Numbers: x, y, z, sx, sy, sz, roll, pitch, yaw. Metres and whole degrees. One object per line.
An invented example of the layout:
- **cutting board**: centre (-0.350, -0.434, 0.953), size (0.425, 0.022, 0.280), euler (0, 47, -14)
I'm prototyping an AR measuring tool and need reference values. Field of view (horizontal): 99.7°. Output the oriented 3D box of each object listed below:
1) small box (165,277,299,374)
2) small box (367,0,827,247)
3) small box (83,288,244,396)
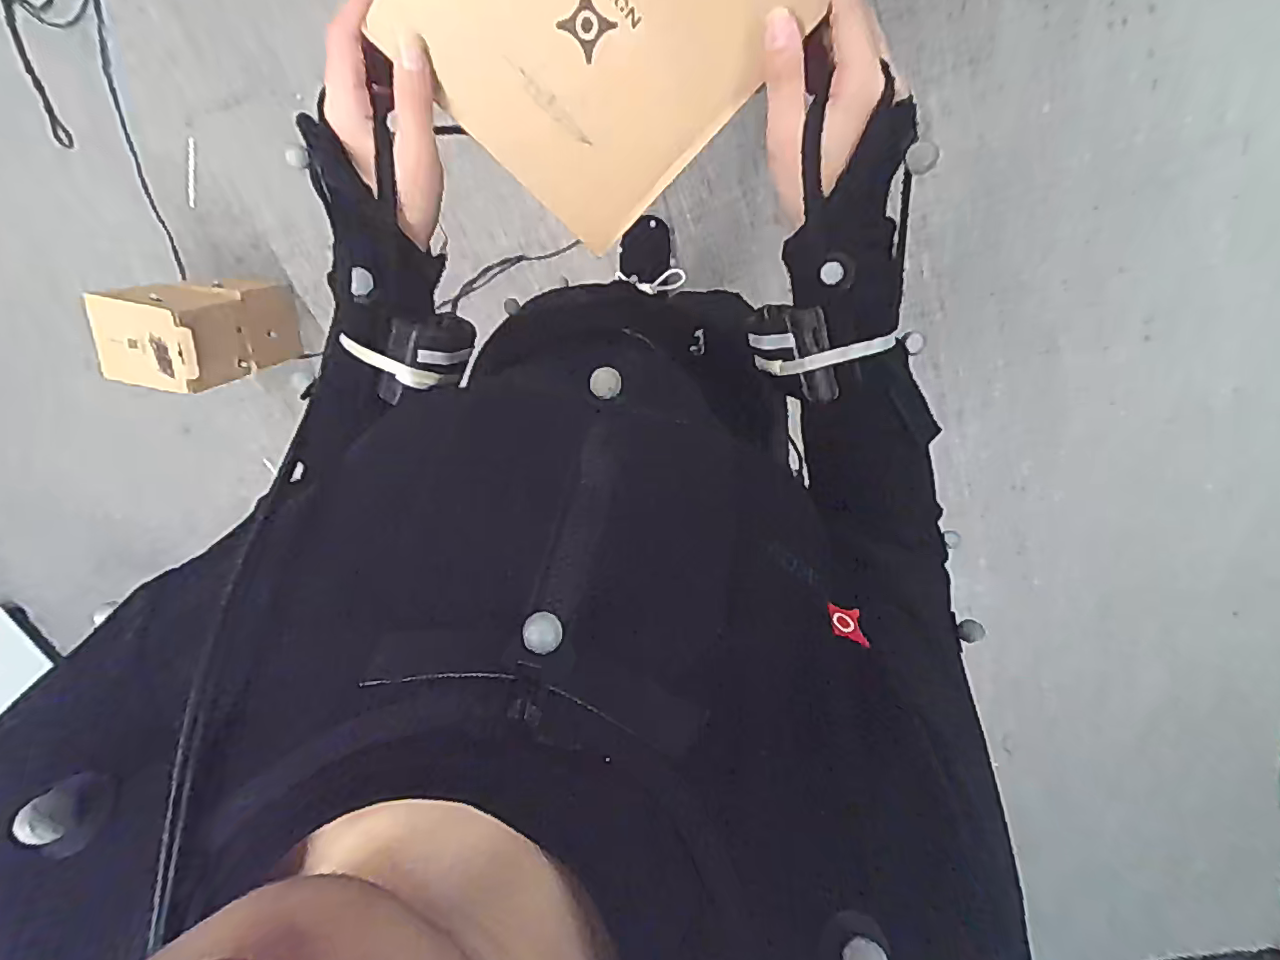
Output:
- **small box**: centre (-0.920, -0.358, 1.241), size (0.168, 0.176, 0.179), euler (6, 116, 2)
- **small box**: centre (-0.020, -0.288, 0.325), size (0.168, 0.176, 0.179), euler (37, 124, -26)
- **small box**: centre (-0.943, -0.285, 1.094), size (0.179, 0.176, 0.168), euler (11, 115, 0)
